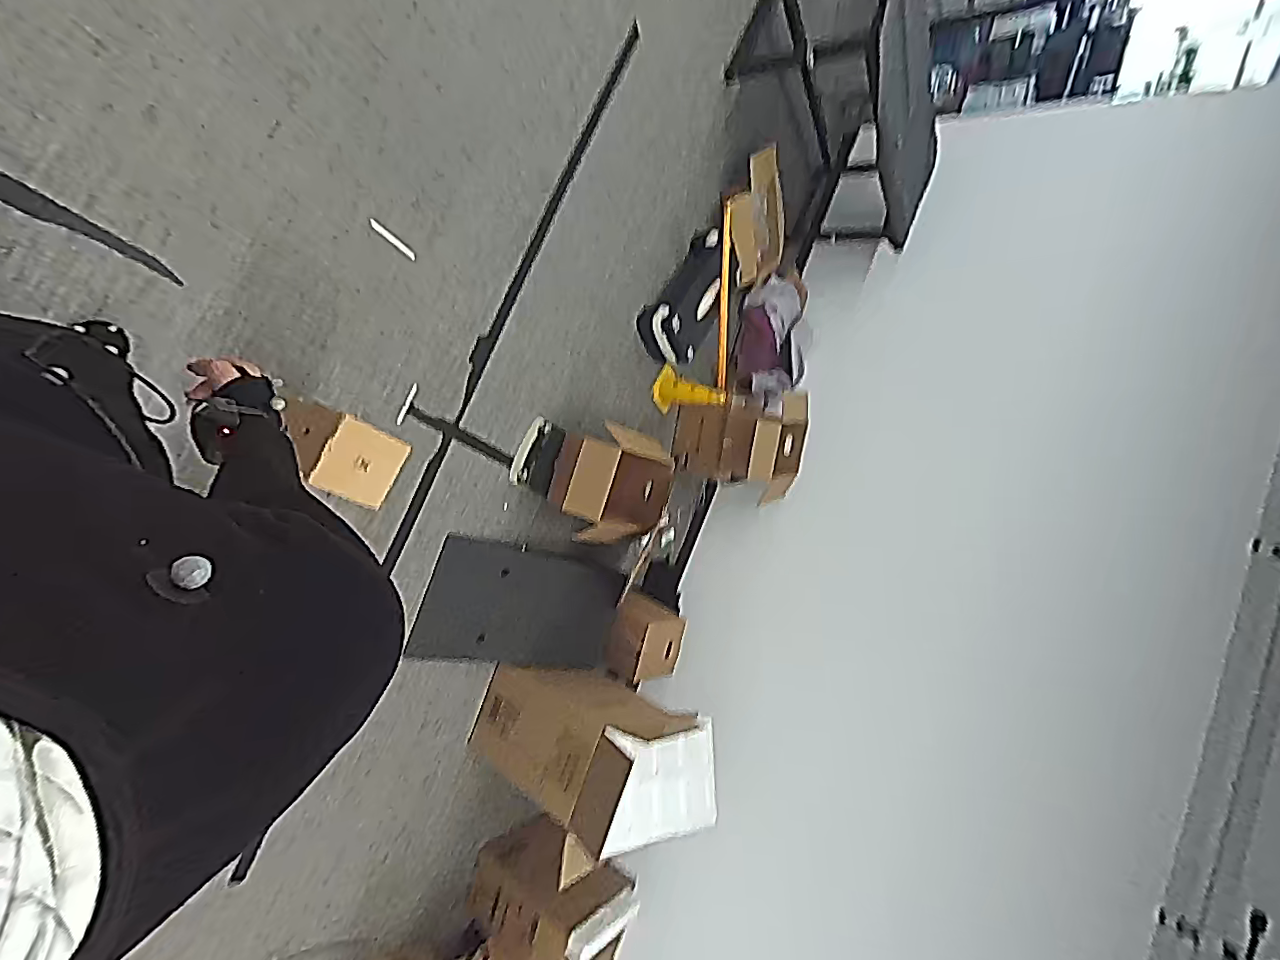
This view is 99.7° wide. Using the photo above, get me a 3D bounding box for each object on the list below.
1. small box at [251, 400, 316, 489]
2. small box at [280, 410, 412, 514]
[{"bbox_3d":[-0.808,-0.078,1.325,0.168,0.176,0.179,35,77,-54],"label":"small box"},{"bbox_3d":[-0.673,-0.045,1.239,0.179,0.176,0.168,38,74,-53],"label":"small box"}]
